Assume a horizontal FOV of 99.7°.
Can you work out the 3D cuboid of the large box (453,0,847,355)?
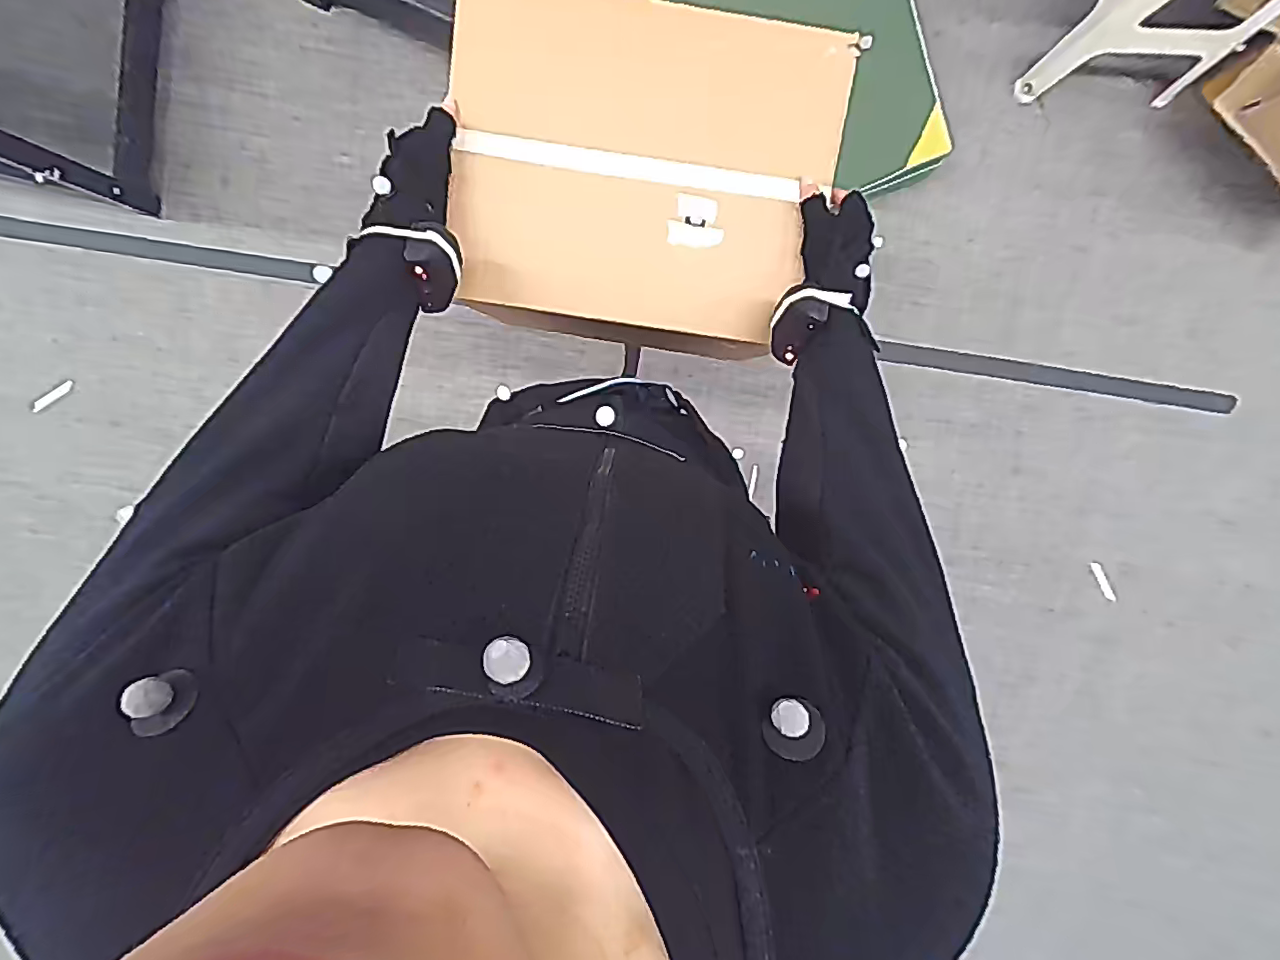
[{"bbox_3d":[-0.001,-0.357,0.733,0.408,0.320,0.320,8,101,-3],"label":"large box"}]
